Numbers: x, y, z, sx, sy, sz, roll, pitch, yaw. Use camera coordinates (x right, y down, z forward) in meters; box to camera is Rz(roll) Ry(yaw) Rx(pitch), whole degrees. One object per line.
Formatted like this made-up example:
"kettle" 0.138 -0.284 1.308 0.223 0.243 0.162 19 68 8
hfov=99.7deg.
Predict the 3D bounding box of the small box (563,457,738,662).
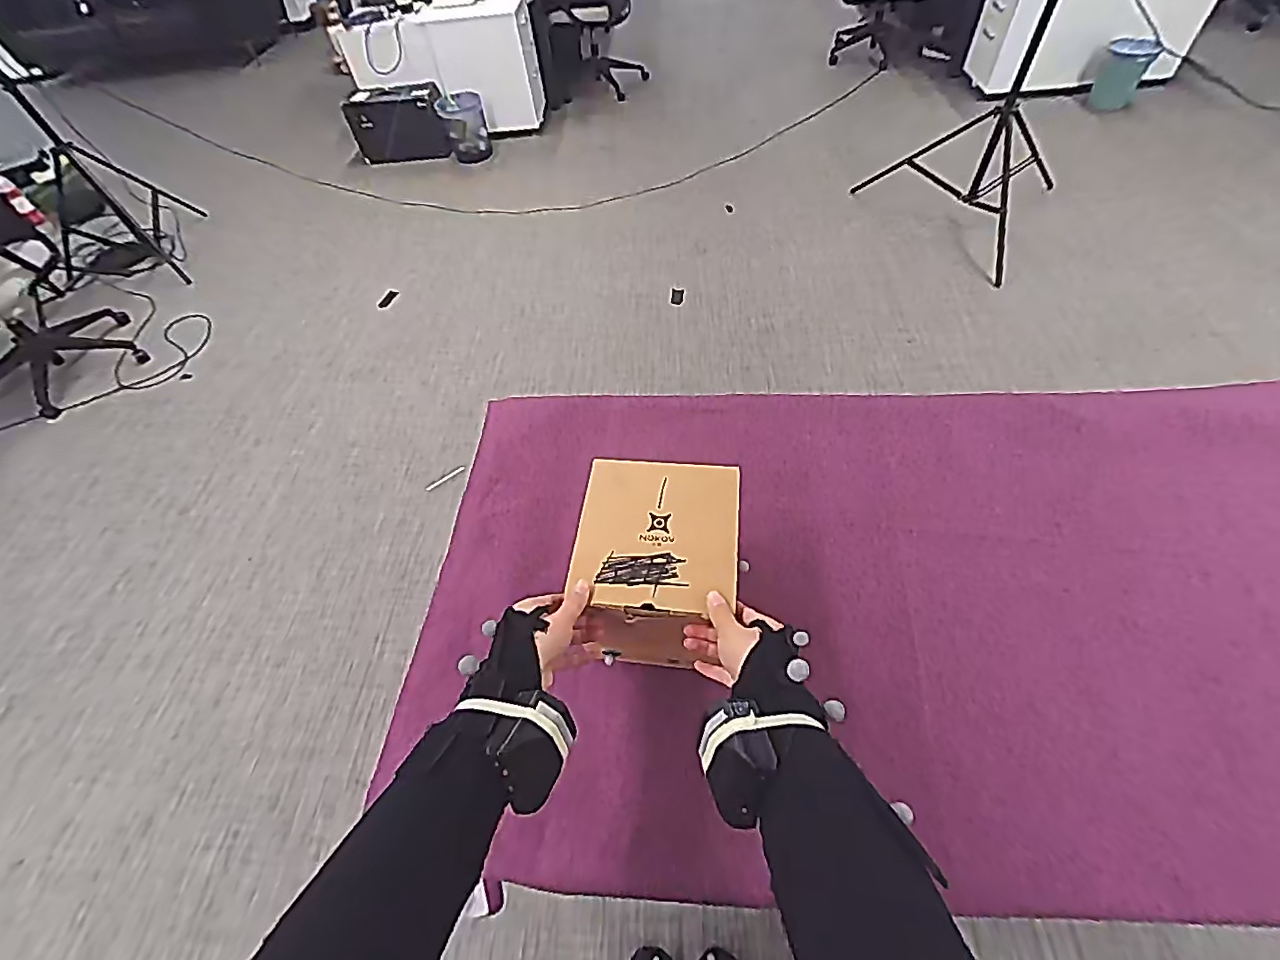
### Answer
"small box" 0.023 0.095 0.621 0.168 0.176 0.179 3 54 8
